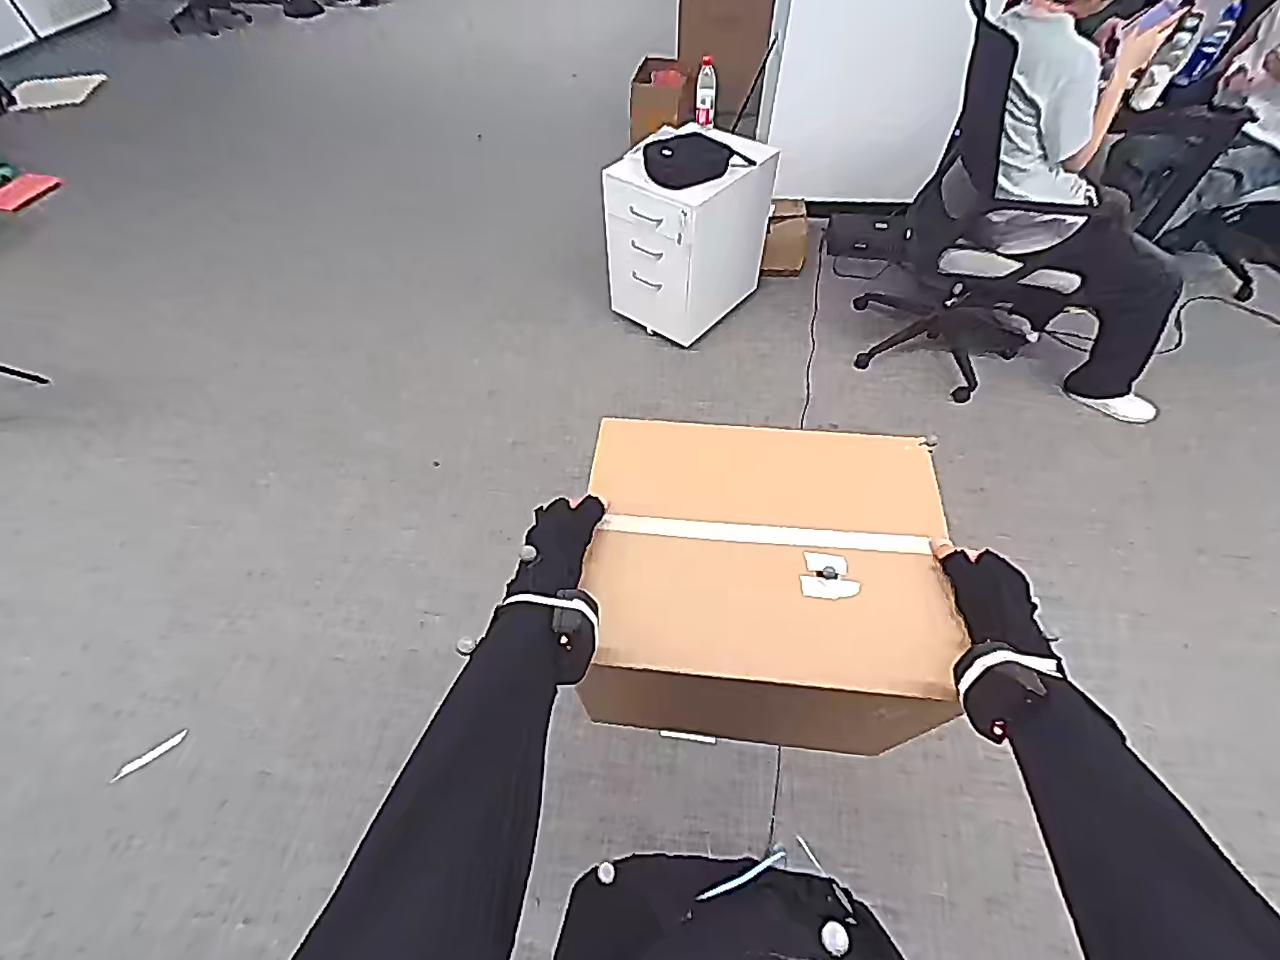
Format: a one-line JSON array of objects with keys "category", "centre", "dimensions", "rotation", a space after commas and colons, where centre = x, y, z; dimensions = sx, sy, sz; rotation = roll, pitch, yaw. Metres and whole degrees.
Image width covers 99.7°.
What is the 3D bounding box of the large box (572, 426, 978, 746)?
[{"category": "large box", "centre": [0.145, 0.151, 0.733], "dimensions": [0.408, 0.320, 0.320], "rotation": [5, 57, 5]}]
